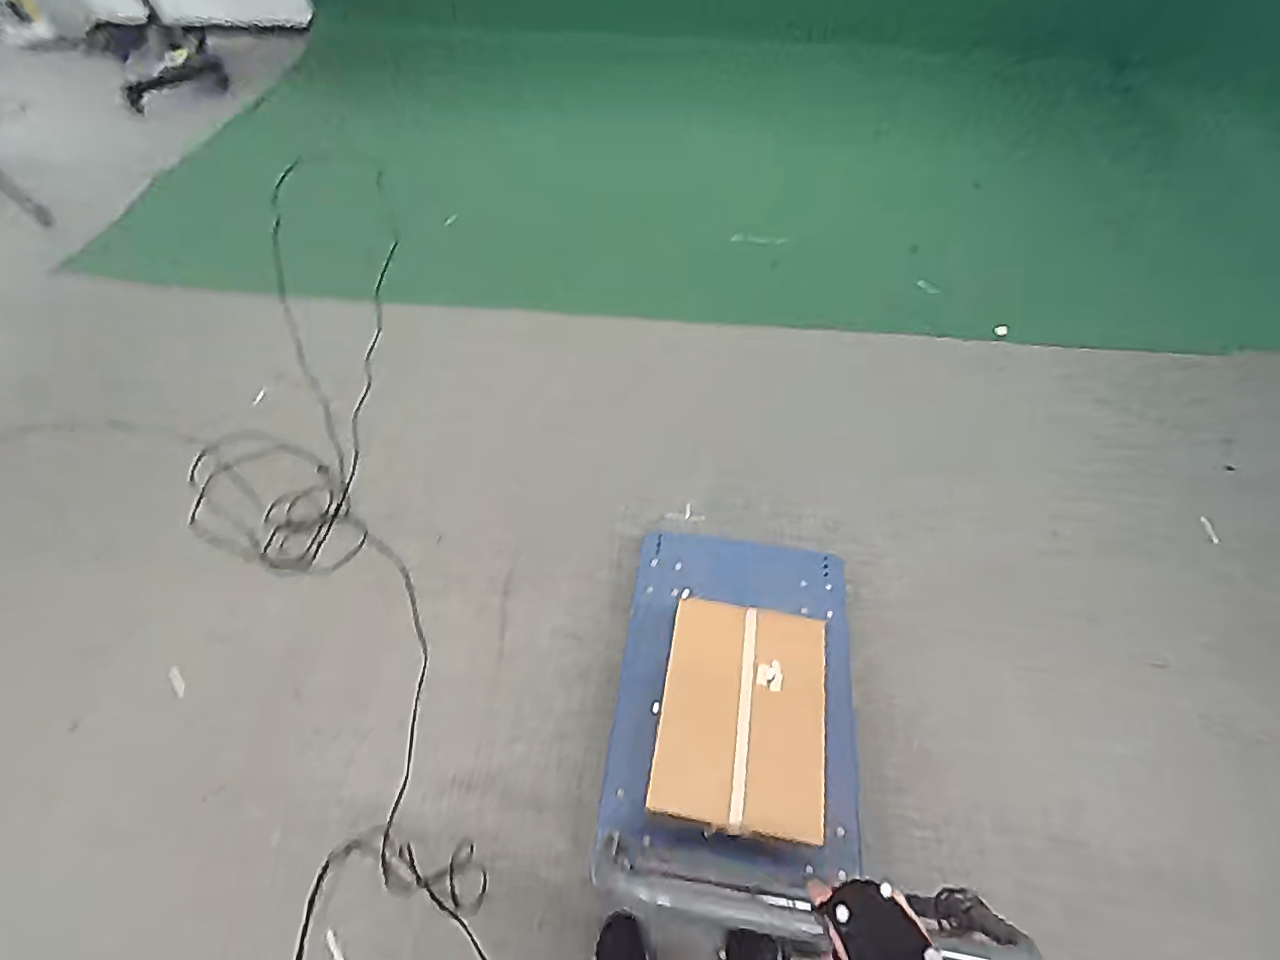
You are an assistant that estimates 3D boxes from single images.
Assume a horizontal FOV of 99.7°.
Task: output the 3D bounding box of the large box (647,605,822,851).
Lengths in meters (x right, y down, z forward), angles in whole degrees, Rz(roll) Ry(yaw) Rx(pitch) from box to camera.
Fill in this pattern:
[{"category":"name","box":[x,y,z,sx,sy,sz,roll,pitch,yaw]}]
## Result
[{"category":"large box","box":[0.195,0.539,1.173,0.320,0.320,0.408,9,55,6]}]
